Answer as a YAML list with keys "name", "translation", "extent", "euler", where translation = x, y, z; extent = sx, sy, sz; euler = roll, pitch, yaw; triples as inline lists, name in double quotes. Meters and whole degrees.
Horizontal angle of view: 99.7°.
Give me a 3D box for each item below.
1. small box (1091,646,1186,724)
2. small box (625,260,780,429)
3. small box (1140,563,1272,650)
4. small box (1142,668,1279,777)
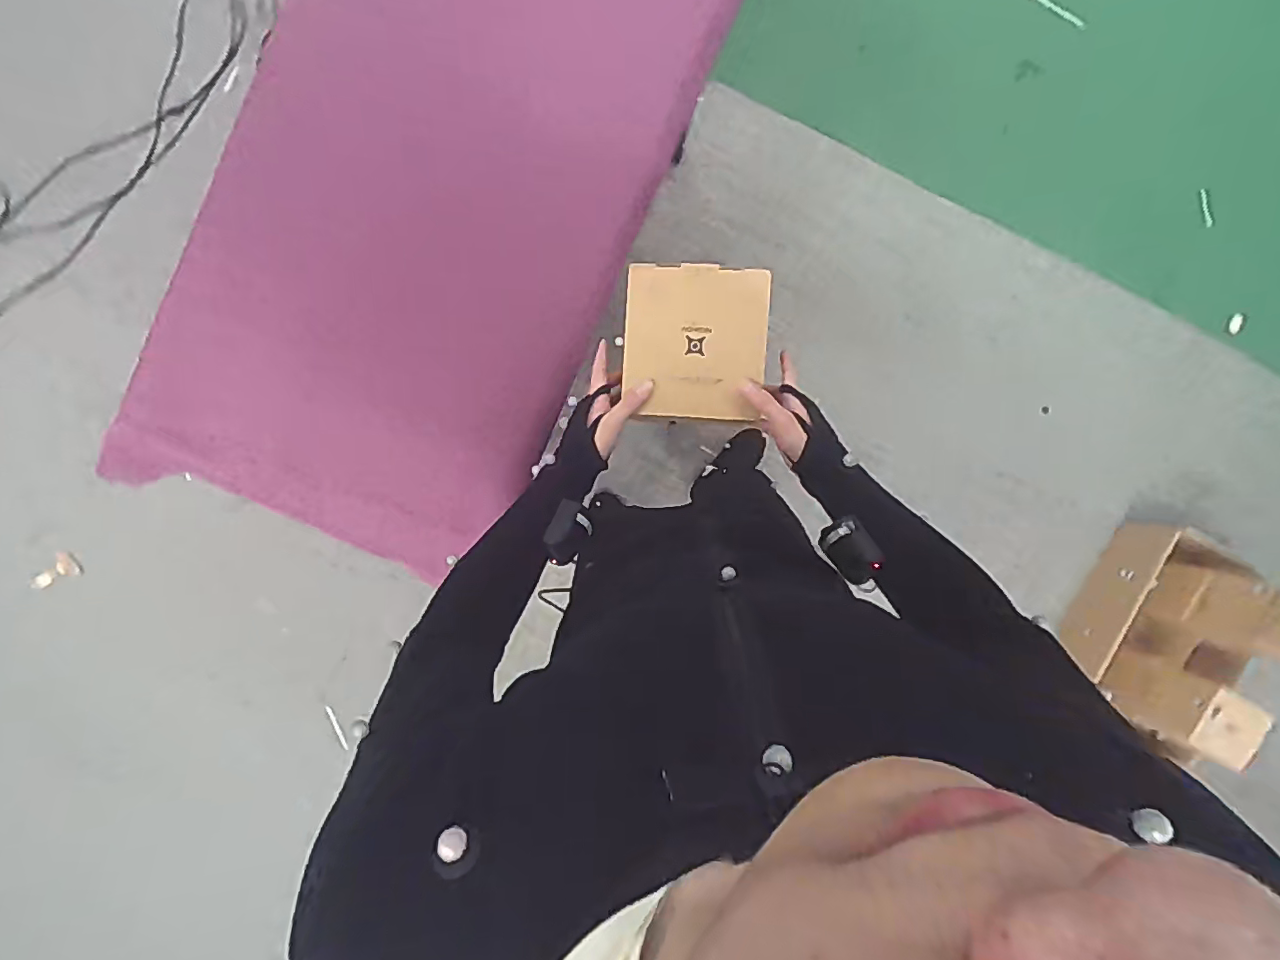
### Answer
- name: "small box"
  translation: [1.491, 0.610, 1.576]
  extent: [0.179, 0.176, 0.168]
  euler: [29, 91, -3]
- name: "small box"
  translation: [0.073, -0.162, 0.697]
  extent: [0.168, 0.176, 0.179]
  euler: [5, 94, 2]
- name: "small box"
  translation: [1.636, 0.359, 1.572]
  extent: [0.179, 0.176, 0.168]
  euler: [29, 91, -5]
- name: "small box"
  translation: [1.493, 0.623, 1.413]
  extent: [0.179, 0.176, 0.168]
  euler: [31, 90, -4]
